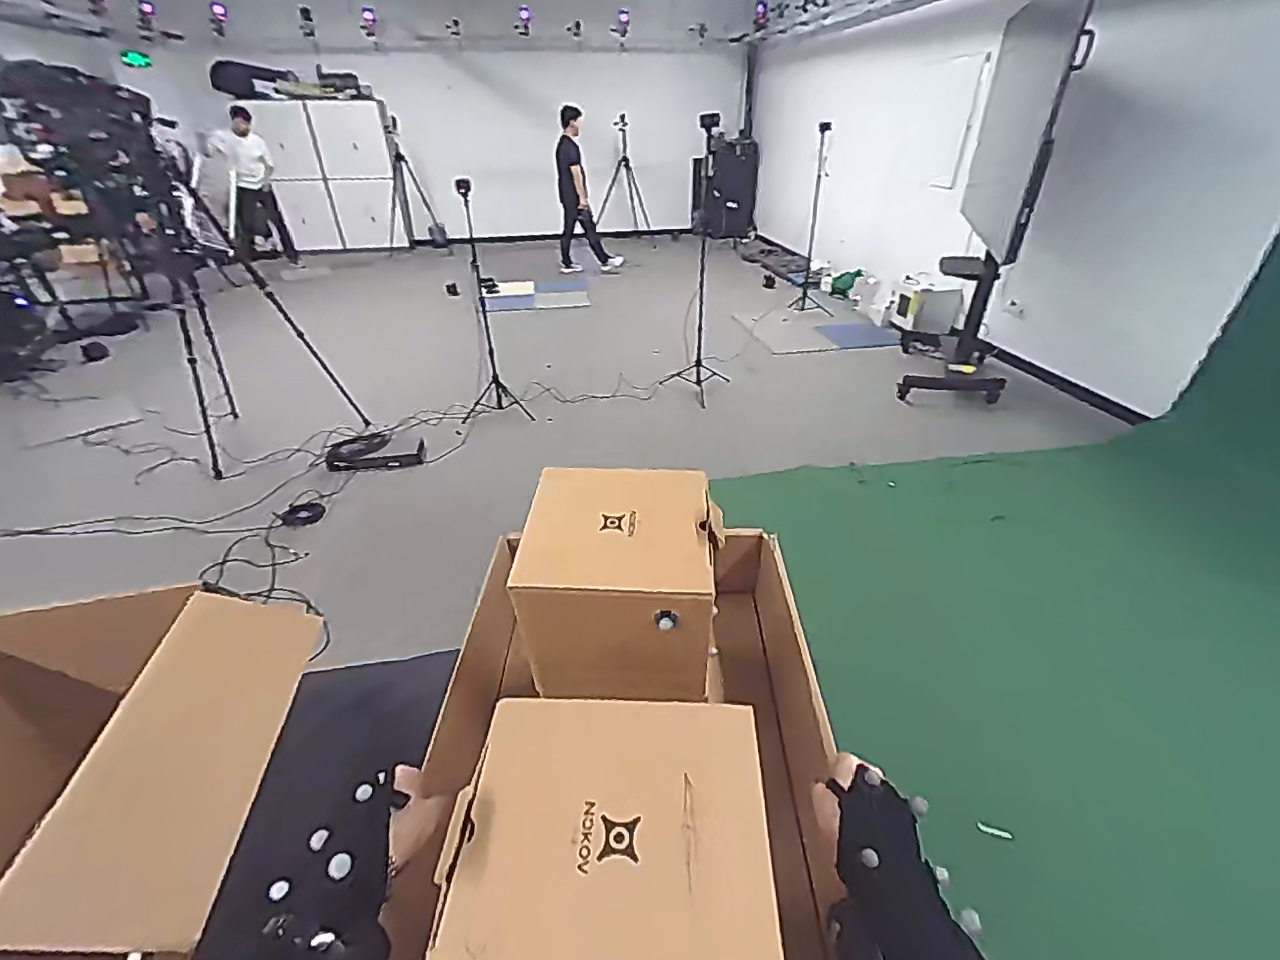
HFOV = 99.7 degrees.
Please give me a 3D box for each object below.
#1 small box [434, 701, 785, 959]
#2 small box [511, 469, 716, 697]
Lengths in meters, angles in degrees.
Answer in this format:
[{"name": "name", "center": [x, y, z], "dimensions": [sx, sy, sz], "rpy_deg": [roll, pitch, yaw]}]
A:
[{"name": "small box", "center": [-0.011, 0.267, 0.355], "dimensions": [0.179, 0.176, 0.168], "rpy_deg": [1, 39, 2]}, {"name": "small box", "center": [-0.016, 0.106, 0.560], "dimensions": [0.179, 0.176, 0.168], "rpy_deg": [2, 39, 3]}]
